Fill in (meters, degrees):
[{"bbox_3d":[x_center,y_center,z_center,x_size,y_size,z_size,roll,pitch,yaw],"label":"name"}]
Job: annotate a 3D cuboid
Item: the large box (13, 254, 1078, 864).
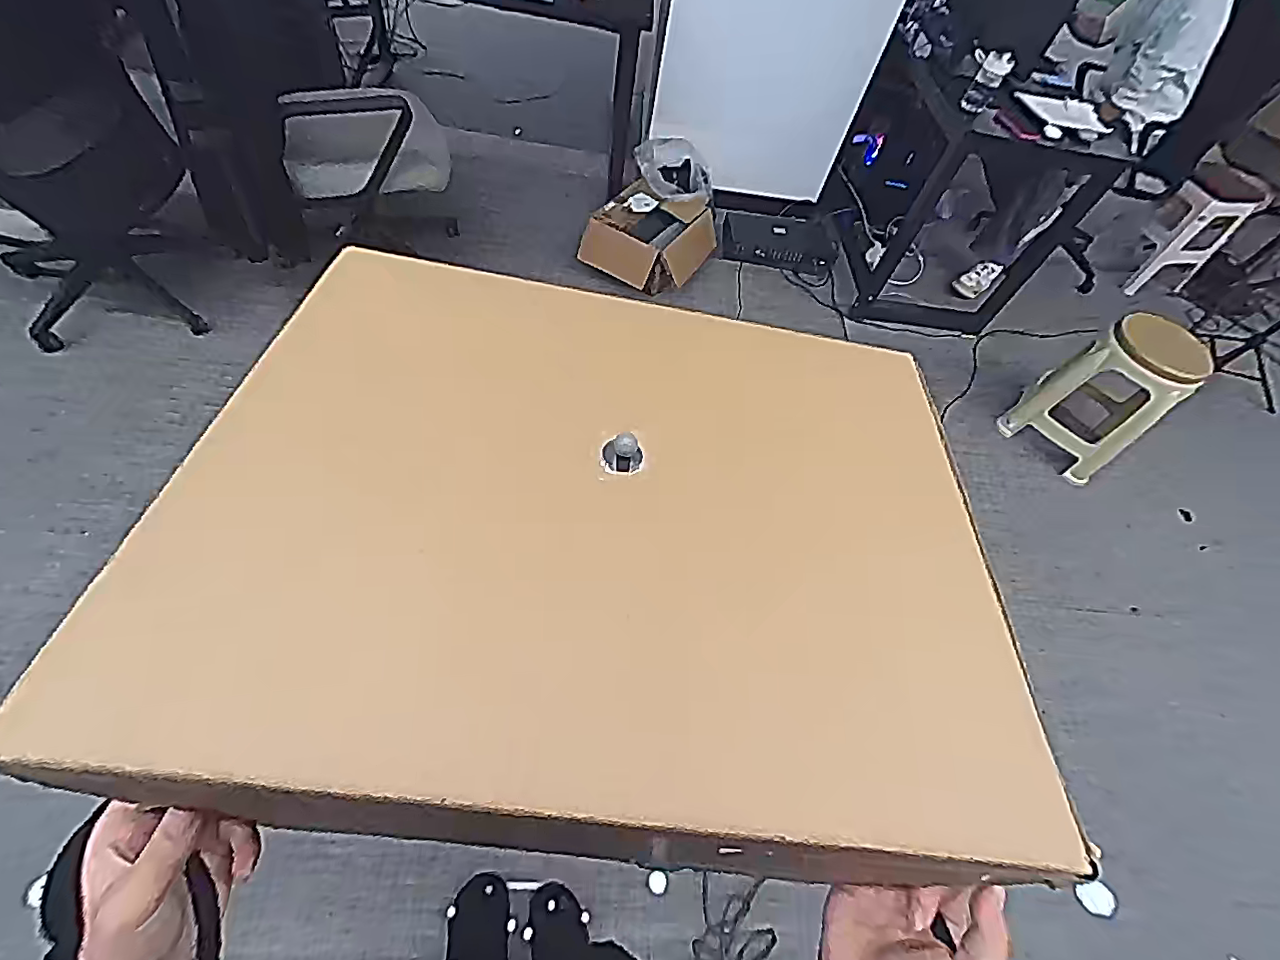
[{"bbox_3d":[-0.035,0.076,0.405,0.408,0.320,0.320,8,54,-4],"label":"large box"}]
